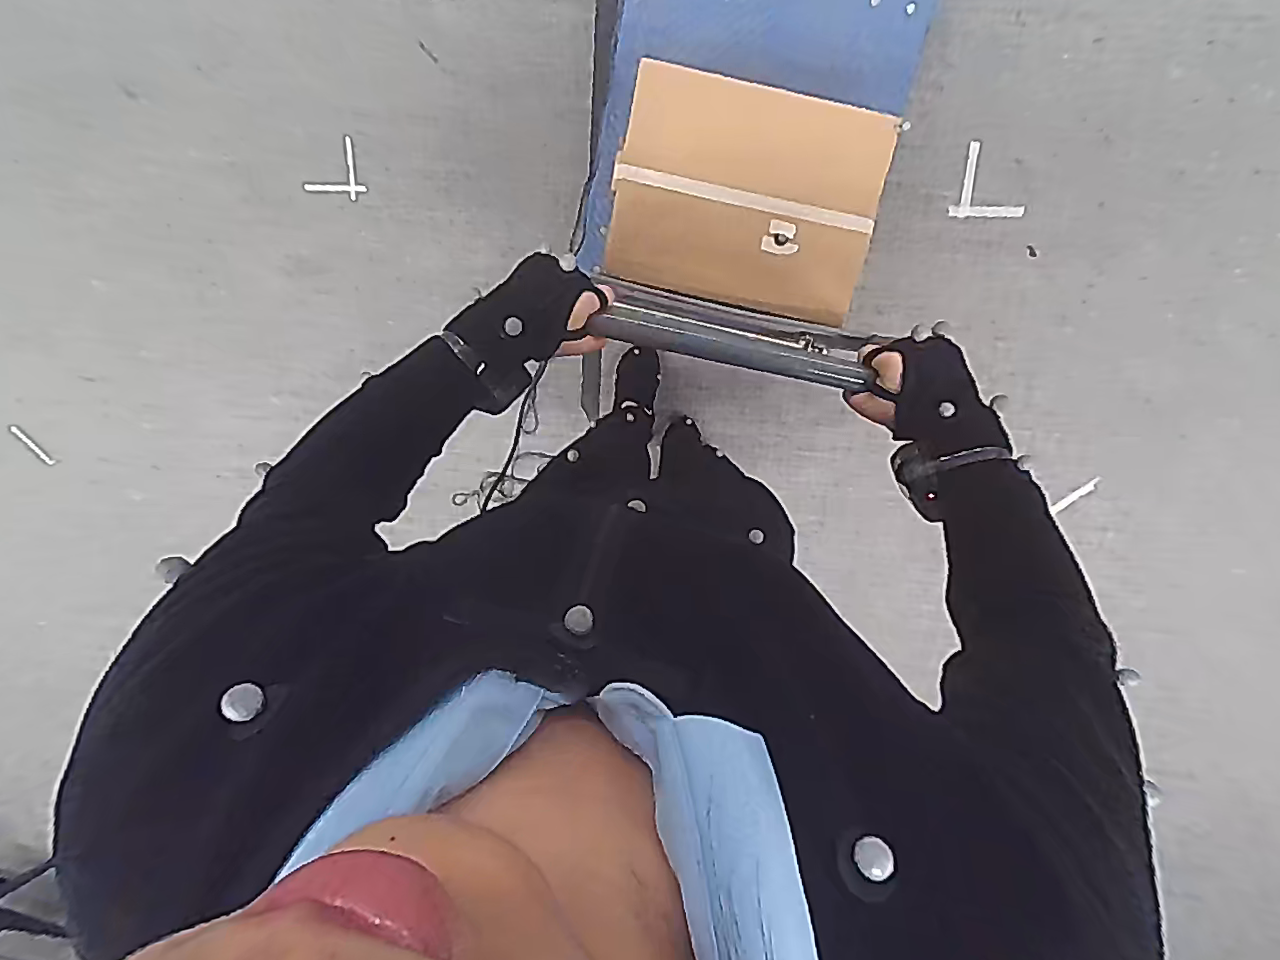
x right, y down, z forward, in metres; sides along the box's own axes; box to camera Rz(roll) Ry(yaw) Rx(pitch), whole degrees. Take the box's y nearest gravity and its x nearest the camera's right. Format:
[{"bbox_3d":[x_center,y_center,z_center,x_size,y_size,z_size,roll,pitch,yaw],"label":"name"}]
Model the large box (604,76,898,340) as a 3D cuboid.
[{"bbox_3d":[0.164,-0.449,0.979,0.408,0.320,0.320,12,105,-2],"label":"large box"}]
